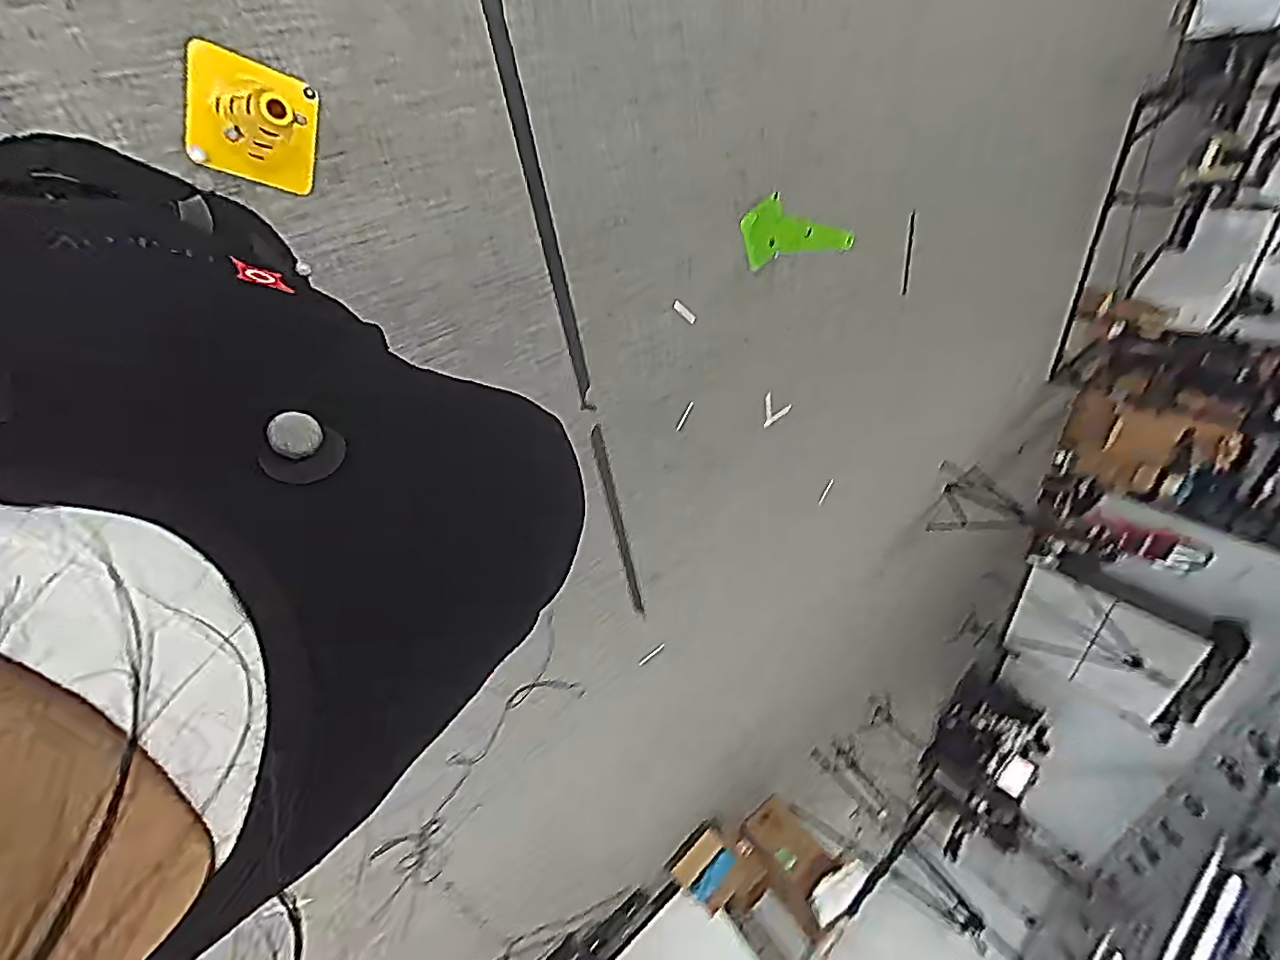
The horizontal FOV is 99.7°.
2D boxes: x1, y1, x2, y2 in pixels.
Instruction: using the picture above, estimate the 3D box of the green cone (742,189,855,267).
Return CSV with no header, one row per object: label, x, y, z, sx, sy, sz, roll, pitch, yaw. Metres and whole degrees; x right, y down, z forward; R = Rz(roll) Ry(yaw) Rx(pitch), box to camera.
green cone,0.548,-0.826,1.811,0.200,0.368,0.202,-44,136,-13
